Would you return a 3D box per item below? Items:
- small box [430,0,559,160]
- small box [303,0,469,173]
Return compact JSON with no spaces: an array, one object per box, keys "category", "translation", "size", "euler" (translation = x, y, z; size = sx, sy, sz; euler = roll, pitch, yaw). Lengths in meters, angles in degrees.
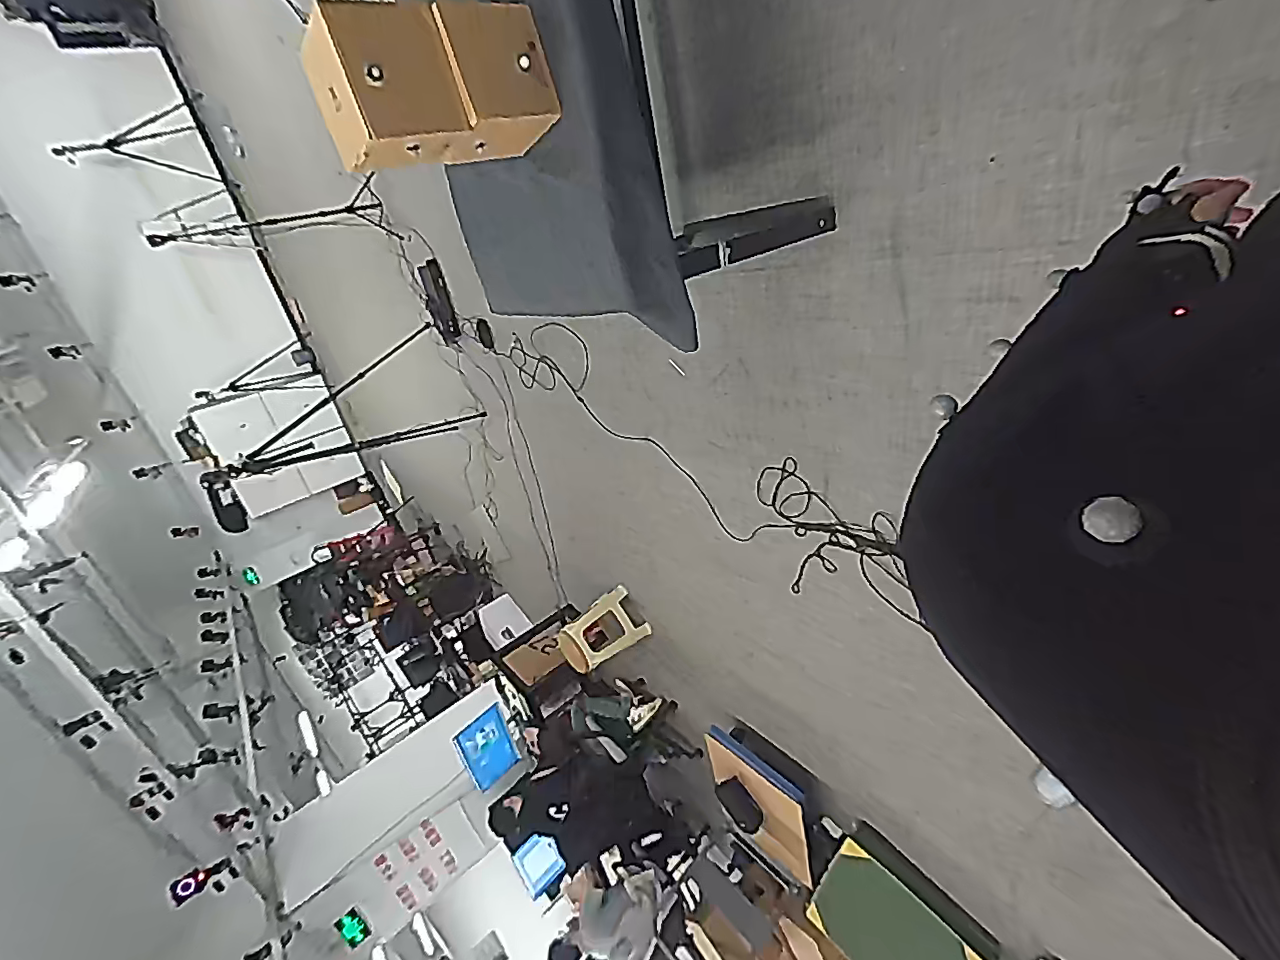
[{"category":"small box","translation":[-0.266,-0.680,0.934],"size":[0.179,0.176,0.168],"euler":[6,120,53]},{"category":"small box","translation":[-0.398,-0.618,0.861],"size":[0.168,0.176,0.179],"euler":[11,123,50]}]
